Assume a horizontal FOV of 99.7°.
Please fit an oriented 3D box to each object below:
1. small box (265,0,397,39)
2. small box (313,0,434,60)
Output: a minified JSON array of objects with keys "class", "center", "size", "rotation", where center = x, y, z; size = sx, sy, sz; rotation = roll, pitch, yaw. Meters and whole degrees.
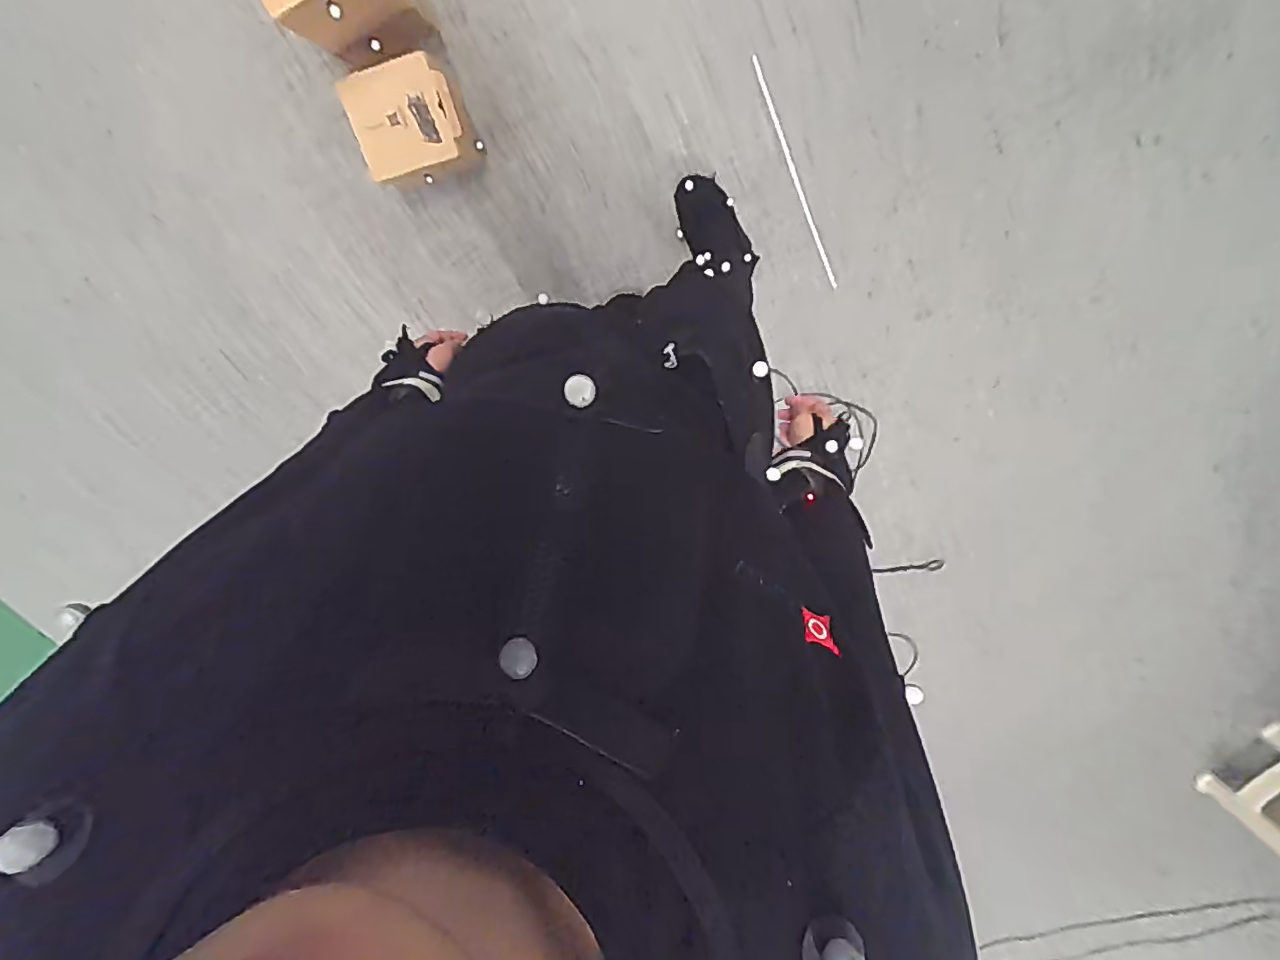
[{"class":"small box","center":[-0.479,-0.802,0.795],"size":[0.179,0.176,0.168],"rotation":[-21,114,10]},{"class":"small box","center":[-0.497,-0.877,0.940],"size":[0.179,0.176,0.168],"rotation":[-21,114,11]}]
